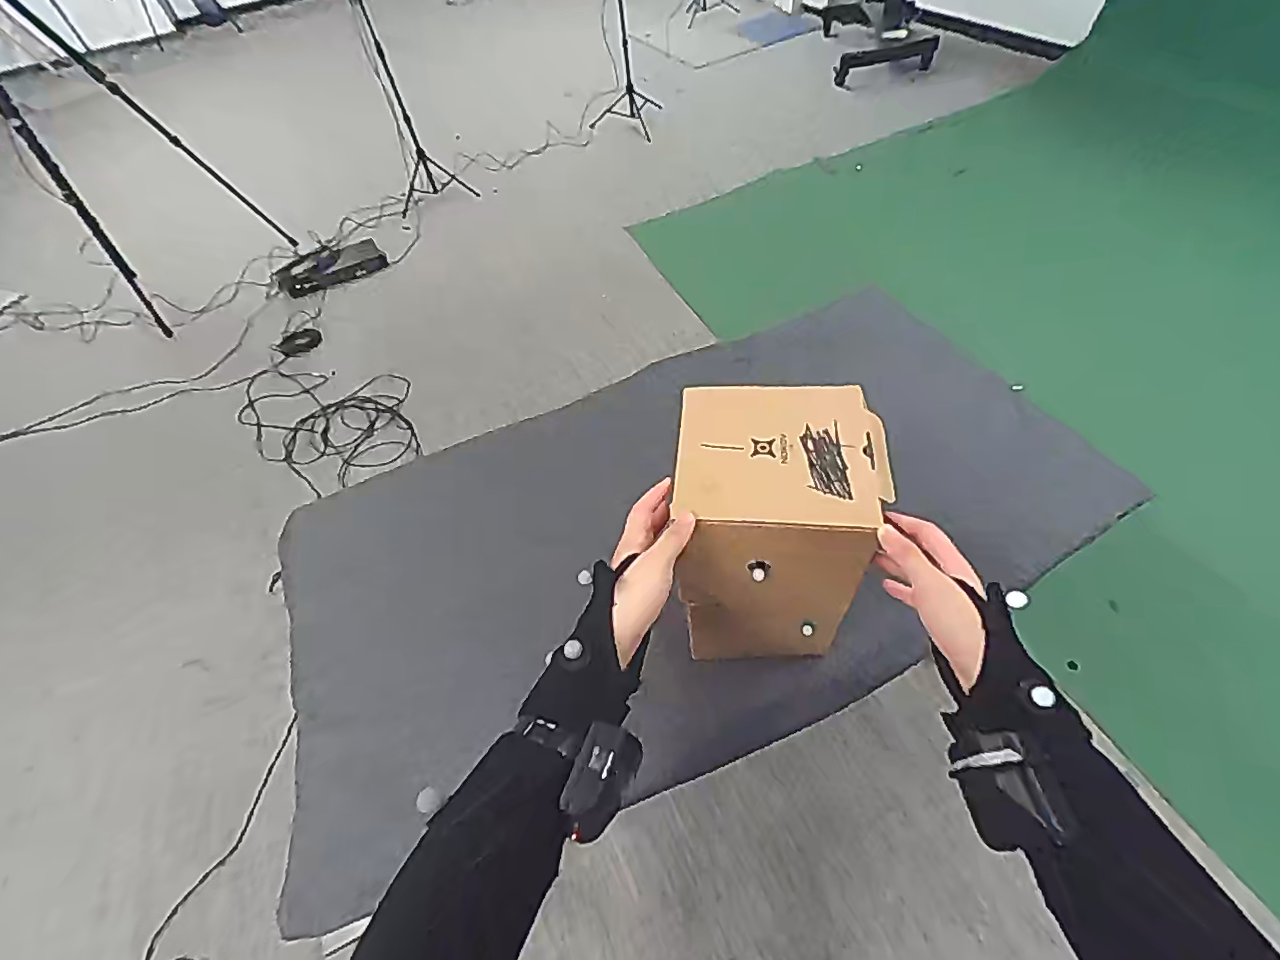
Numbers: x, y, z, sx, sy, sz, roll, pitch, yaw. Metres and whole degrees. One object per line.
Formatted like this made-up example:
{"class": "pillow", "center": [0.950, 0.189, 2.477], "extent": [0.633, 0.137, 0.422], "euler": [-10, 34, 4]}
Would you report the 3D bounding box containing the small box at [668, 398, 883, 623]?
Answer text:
{"class": "small box", "center": [0.129, 0.035, 0.554], "extent": [0.179, 0.176, 0.168], "euler": [2, 52, 10]}
